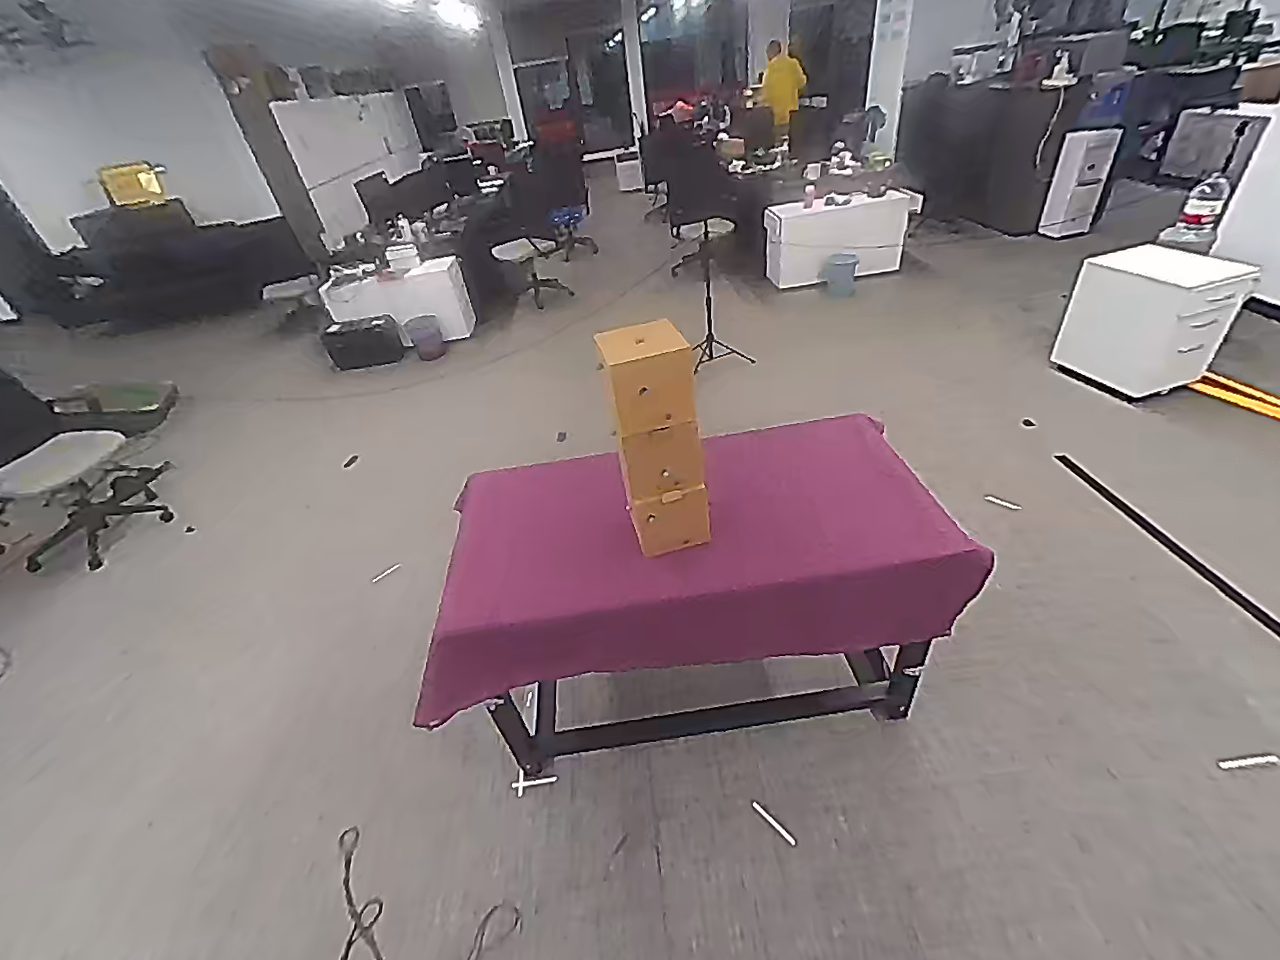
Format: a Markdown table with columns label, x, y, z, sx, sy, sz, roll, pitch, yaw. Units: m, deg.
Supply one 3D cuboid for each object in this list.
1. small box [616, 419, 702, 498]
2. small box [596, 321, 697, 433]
| label | x | y | z | sx | sy | sz | roll | pitch | yaw |
| --- | --- | --- | --- | --- | --- | --- | --- | --- | --- |
| small box | 0.039 | -0.084 | 1.236 | 0.168 | 0.176 | 0.179 | -13 | 36 | -4 |
| small box | 0.015 | -0.212 | 1.137 | 0.168 | 0.176 | 0.179 | -14 | 35 | -7 |
